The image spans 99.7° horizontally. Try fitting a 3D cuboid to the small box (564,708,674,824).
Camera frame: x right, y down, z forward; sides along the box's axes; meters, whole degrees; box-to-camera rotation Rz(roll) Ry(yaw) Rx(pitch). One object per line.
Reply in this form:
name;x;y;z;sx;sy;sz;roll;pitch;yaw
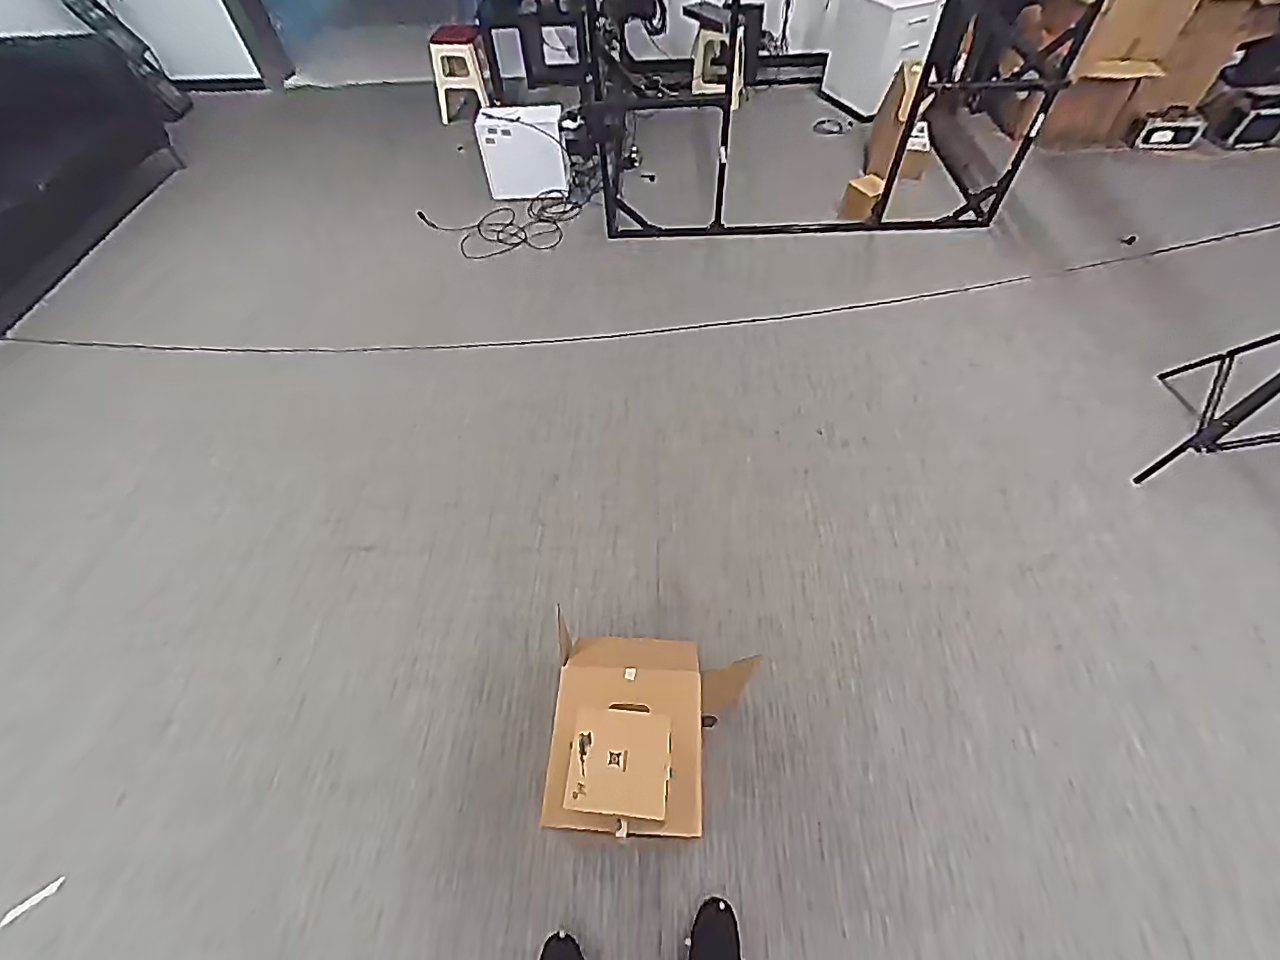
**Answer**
small box;-0.032;0.541;1.017;0.179;0.176;0.168;5;56;5
